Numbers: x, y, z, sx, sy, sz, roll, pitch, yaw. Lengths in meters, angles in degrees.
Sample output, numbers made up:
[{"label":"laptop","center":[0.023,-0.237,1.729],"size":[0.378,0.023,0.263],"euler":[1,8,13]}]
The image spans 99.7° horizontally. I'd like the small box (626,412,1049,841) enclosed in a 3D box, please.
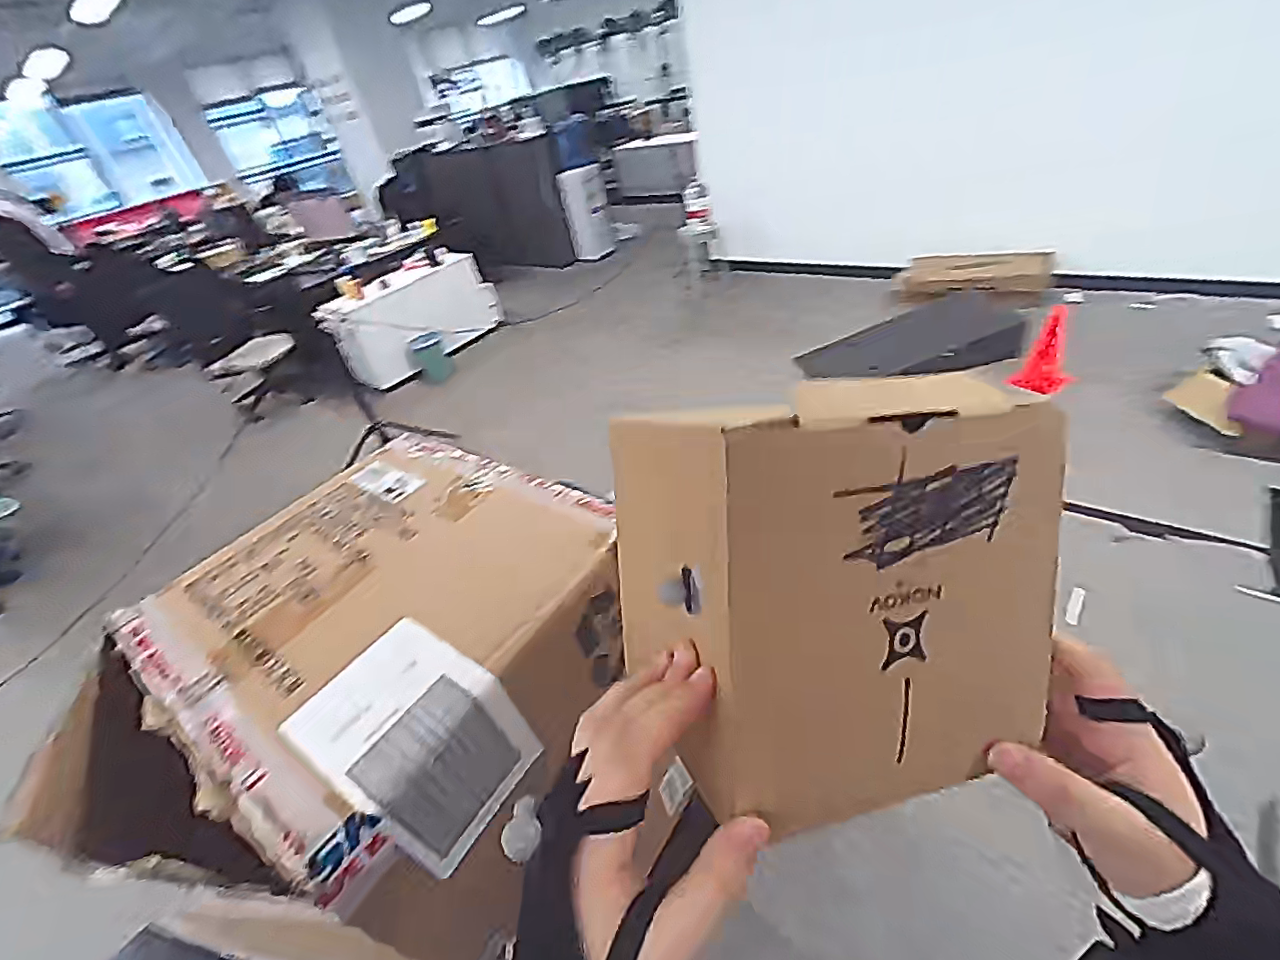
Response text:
[{"label":"small box","center":[0.092,0.053,0.315],"size":[0.168,0.179,0.176],"euler":[-5,9,-15]}]
